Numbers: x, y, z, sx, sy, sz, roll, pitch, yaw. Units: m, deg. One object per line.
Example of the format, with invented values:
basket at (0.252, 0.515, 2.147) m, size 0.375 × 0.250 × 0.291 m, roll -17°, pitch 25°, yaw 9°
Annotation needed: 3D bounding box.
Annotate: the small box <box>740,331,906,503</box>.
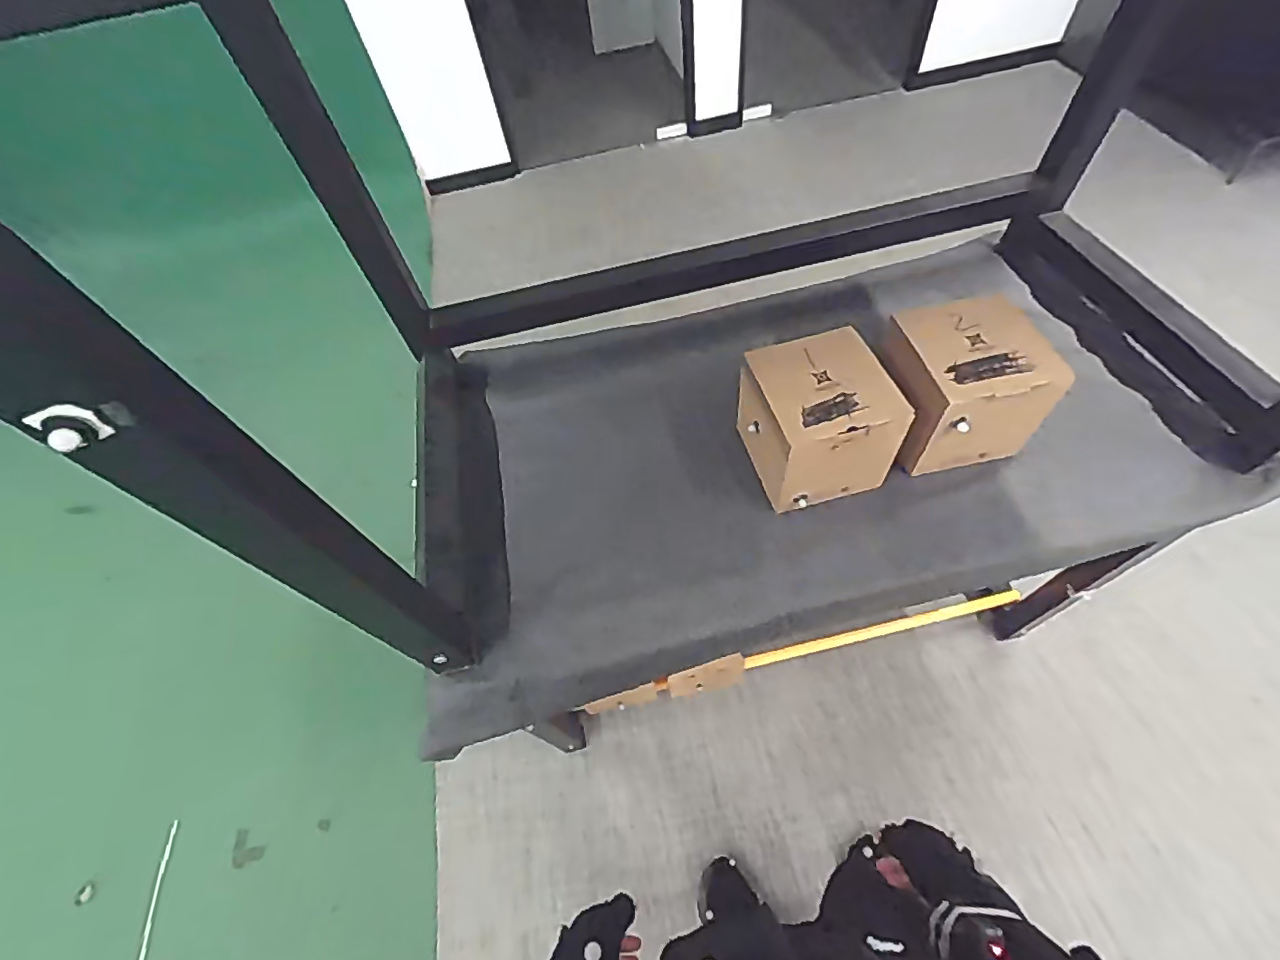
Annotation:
small box at (0.253, -0.083, 0.797) m, size 0.168 × 0.176 × 0.179 m, roll -15°, pitch 55°, yaw -2°
